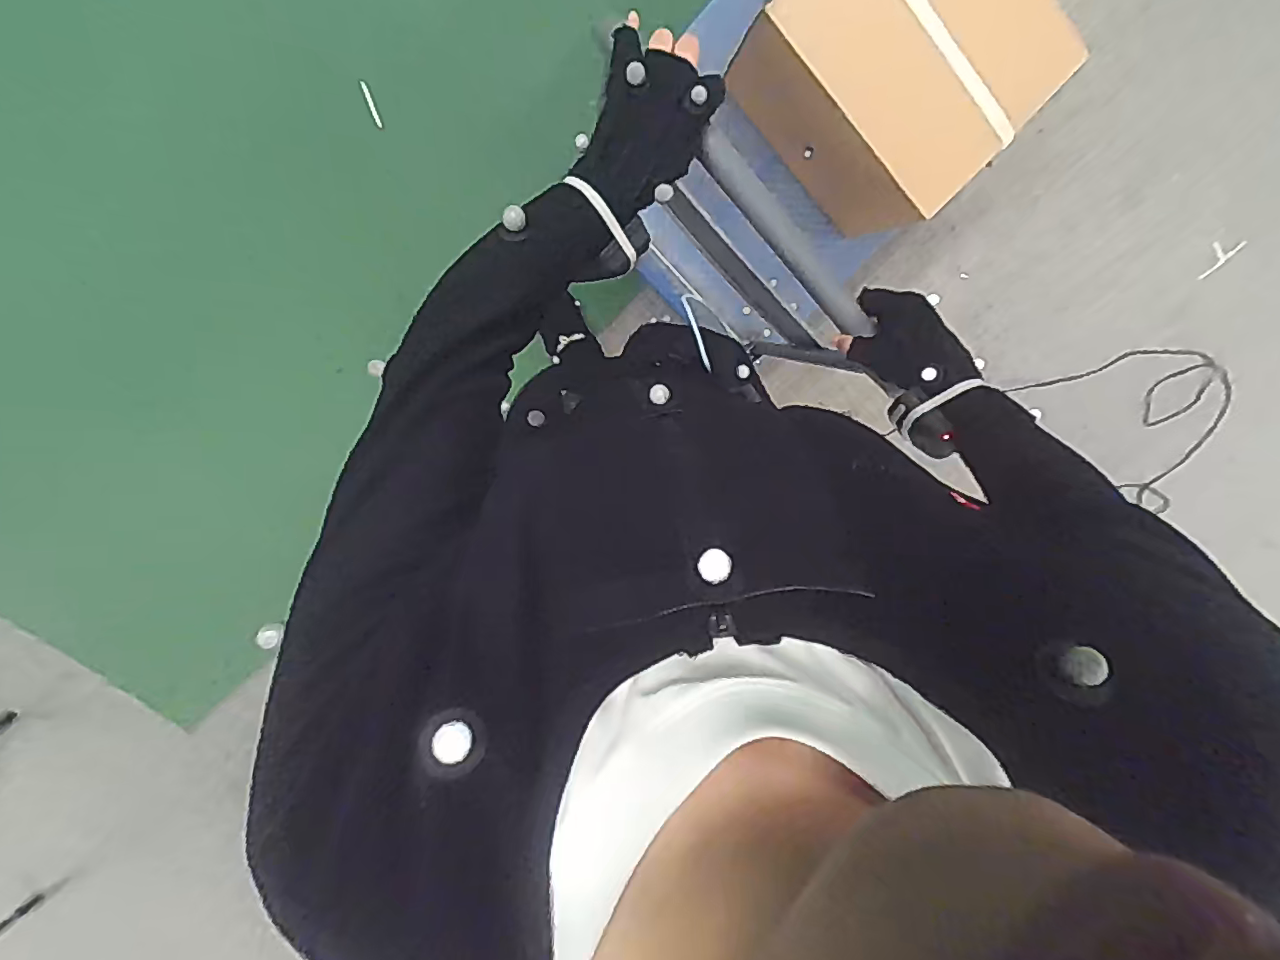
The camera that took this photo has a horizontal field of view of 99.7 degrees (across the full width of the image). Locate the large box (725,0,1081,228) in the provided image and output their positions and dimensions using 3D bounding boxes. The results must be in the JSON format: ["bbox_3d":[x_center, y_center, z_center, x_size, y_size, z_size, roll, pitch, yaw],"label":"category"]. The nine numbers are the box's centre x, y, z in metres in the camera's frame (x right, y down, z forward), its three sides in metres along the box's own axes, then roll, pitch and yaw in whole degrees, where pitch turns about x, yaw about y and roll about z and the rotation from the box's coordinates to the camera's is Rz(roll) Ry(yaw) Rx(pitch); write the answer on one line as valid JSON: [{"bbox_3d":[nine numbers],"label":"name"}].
[{"bbox_3d":[0.415,-0.714,0.938,0.408,0.320,0.320,41,102,-15],"label":"large box"}]
